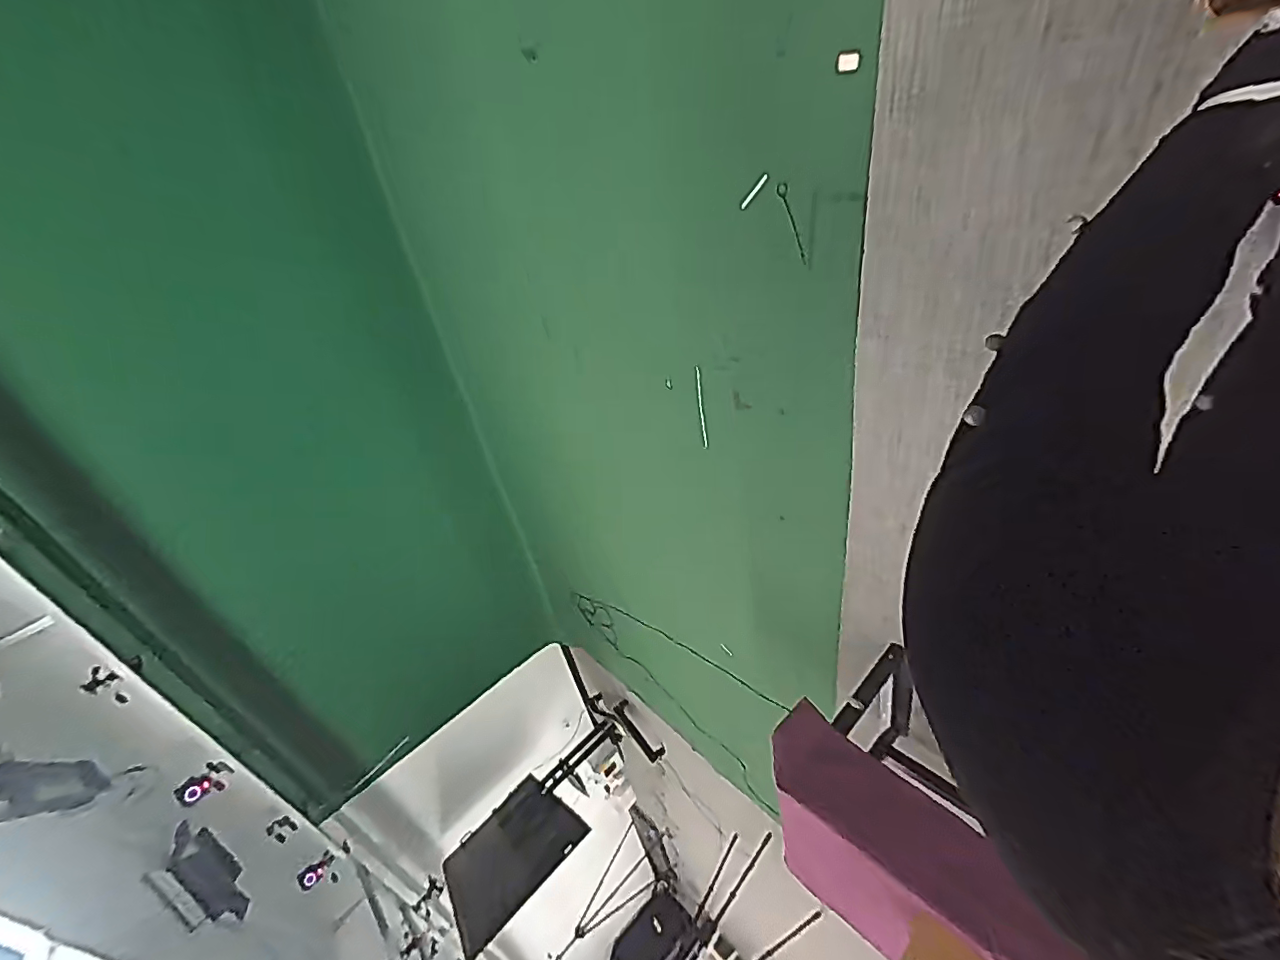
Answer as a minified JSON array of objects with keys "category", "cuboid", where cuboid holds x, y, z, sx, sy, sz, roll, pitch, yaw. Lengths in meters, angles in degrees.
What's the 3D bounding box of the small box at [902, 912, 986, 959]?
[{"category":"small box","cuboid":[0.768,1.257,1.362,0.179,0.176,0.168,25,139,43]}]
